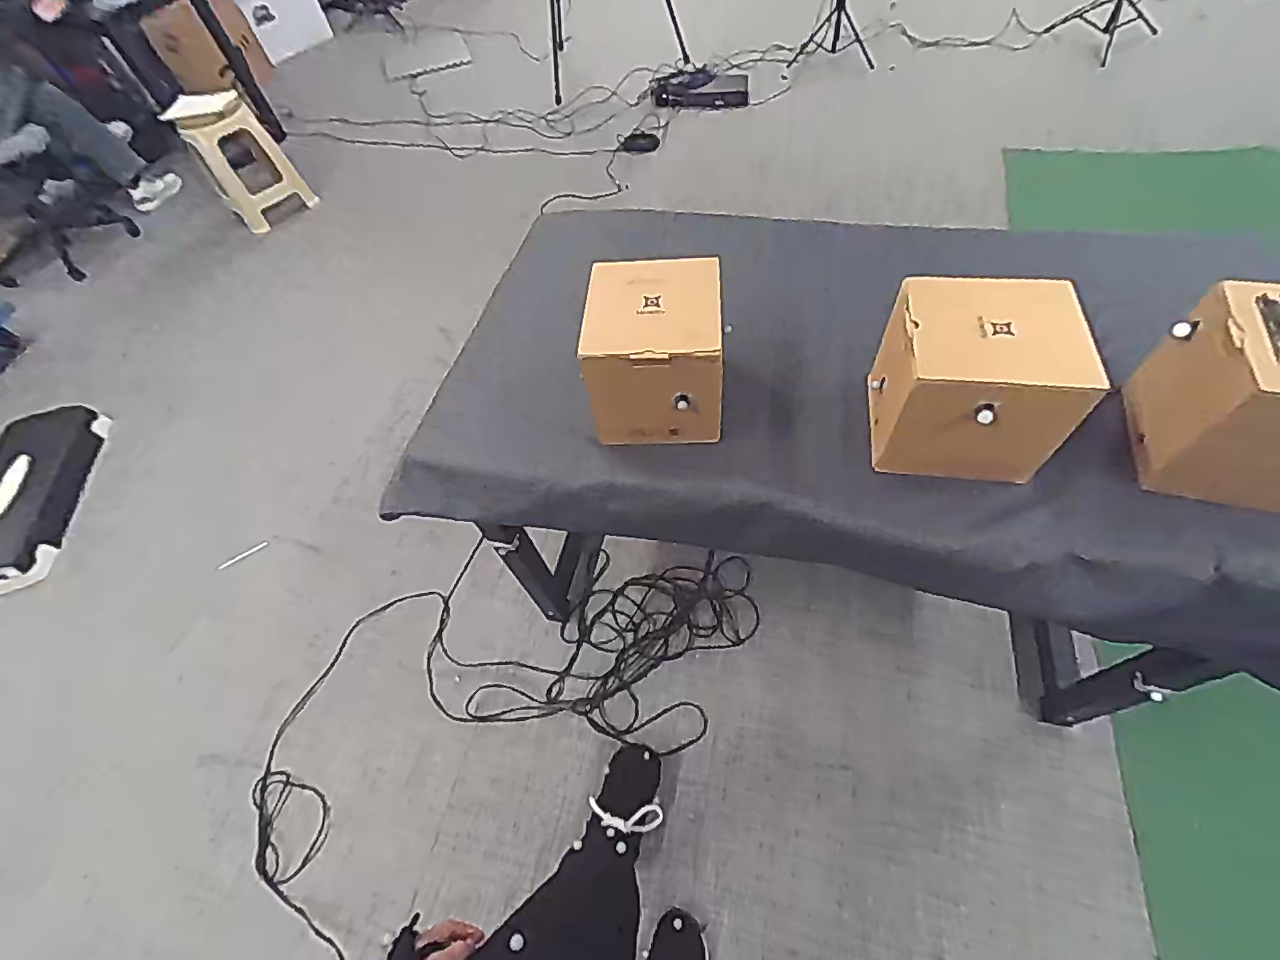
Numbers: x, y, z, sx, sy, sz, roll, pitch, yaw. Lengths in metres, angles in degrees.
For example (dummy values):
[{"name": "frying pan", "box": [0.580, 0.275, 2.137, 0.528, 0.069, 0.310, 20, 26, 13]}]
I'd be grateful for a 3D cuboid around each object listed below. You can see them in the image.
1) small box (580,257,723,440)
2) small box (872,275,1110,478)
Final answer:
[{"name": "small box", "box": [0.025, -0.167, 0.717, 0.168, 0.176, 0.179, 0, 55, 5]}, {"name": "small box", "box": [0.388, -0.117, 0.638, 0.179, 0.176, 0.168, 5, 57, 12]}]
